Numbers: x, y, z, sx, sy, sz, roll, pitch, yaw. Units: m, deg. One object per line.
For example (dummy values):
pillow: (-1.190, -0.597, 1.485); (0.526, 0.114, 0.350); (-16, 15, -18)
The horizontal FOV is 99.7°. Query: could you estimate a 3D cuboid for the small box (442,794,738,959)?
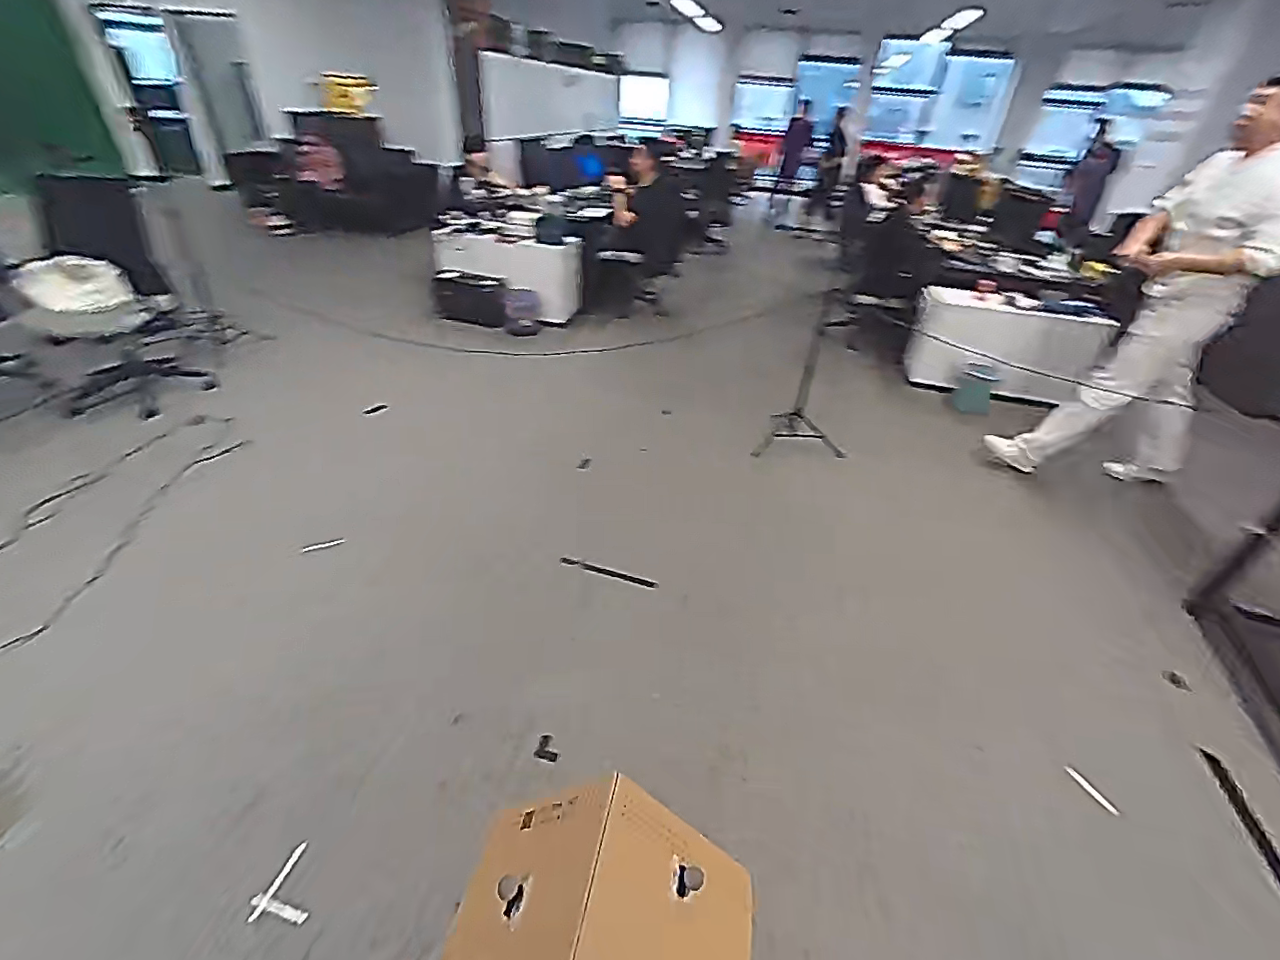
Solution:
small box: (-0.041, 0.371, 0.421); (0.179, 0.168, 0.176); (45, 32, -17)
